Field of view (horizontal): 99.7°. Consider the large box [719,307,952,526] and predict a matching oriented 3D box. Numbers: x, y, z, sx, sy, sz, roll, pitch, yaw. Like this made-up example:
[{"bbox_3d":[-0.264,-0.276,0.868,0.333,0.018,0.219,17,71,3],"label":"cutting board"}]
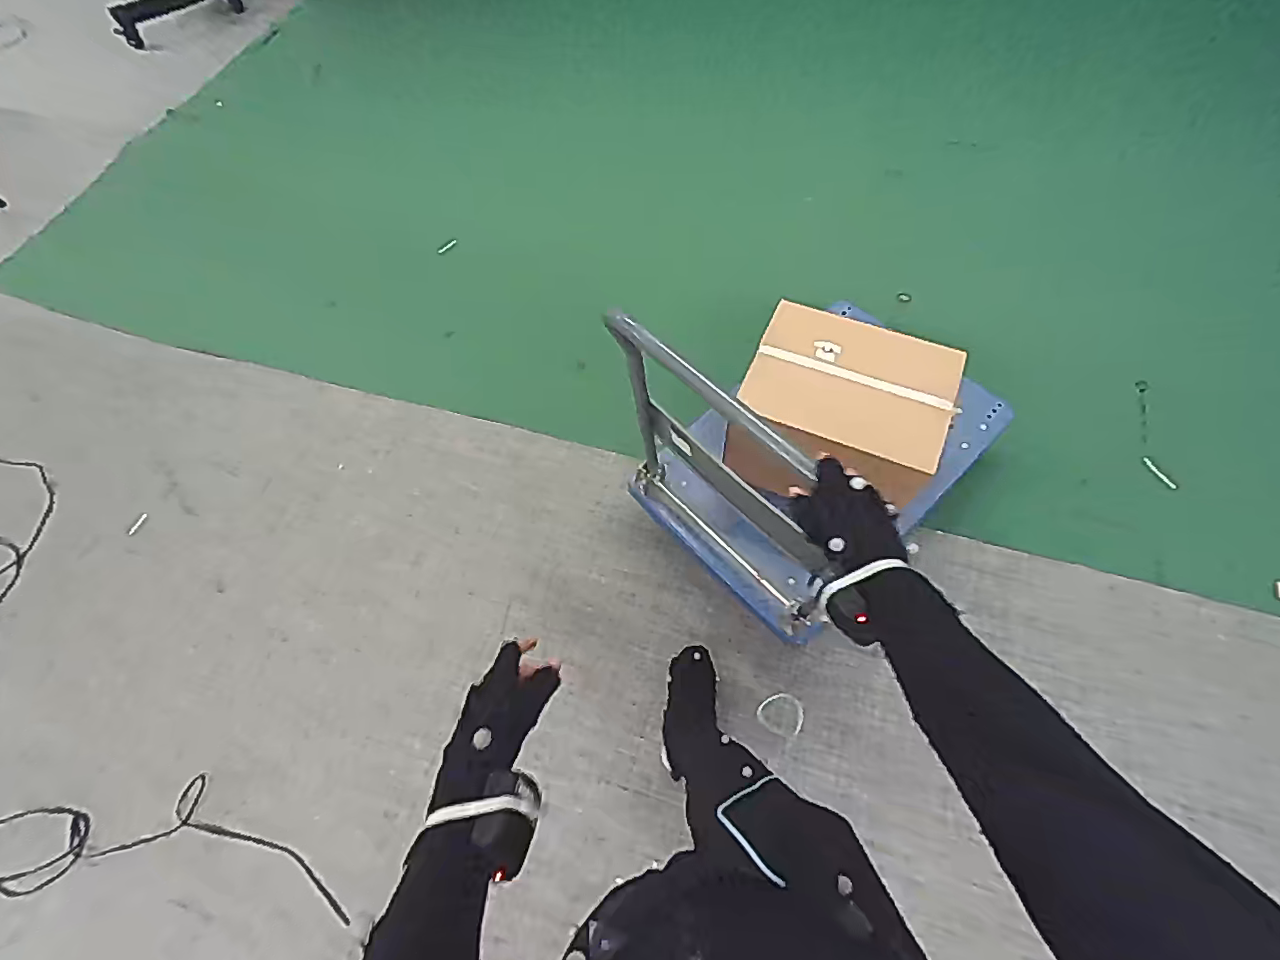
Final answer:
[{"bbox_3d":[0.429,-0.139,1.260,0.408,0.320,0.320,21,67,15],"label":"large box"}]
